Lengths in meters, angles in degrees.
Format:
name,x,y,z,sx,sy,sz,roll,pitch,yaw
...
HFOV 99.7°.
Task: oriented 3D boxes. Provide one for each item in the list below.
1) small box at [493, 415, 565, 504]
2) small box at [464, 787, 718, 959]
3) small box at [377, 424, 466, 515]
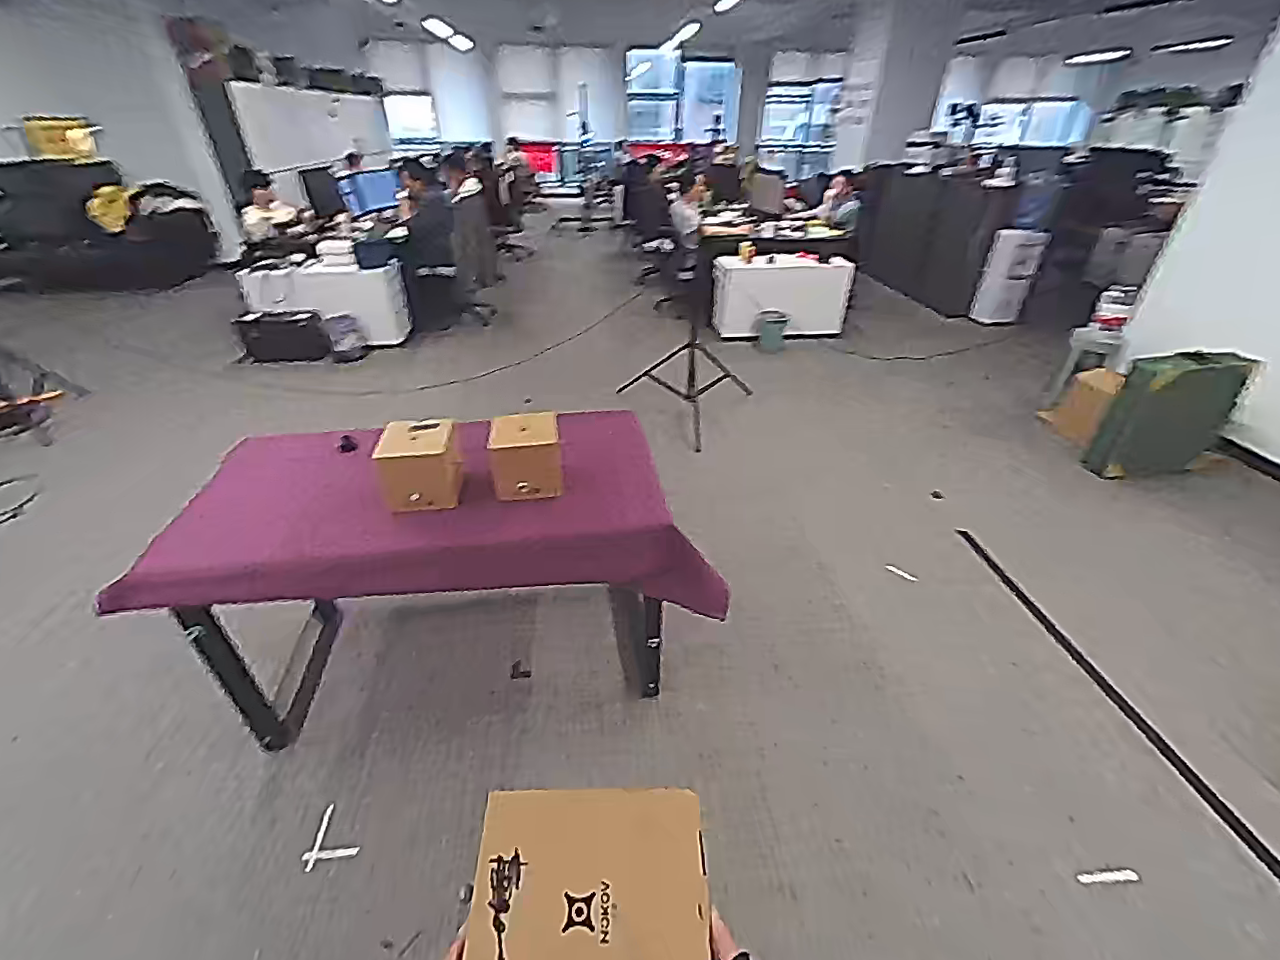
name,x,y,z,sx,sy,sz,roll,pitch,yaw
small box,-0.293,-0.055,1.442,0.168,0.176,0.179,-6,35,-8
small box,-0.042,0.372,0.440,0.179,0.176,0.168,3,38,-5
small box,-0.555,-0.030,1.397,0.168,0.176,0.179,-4,34,-7
